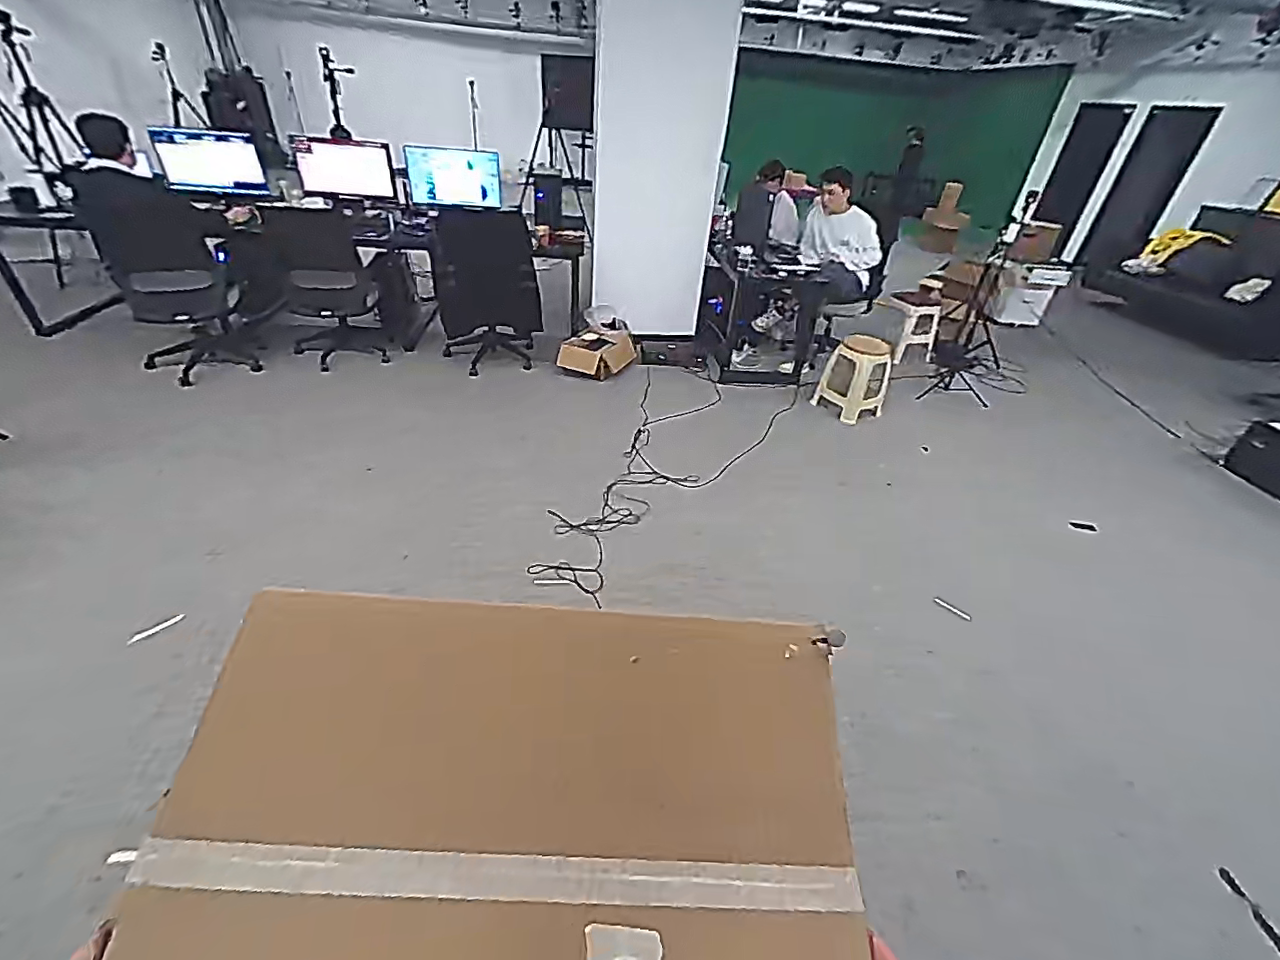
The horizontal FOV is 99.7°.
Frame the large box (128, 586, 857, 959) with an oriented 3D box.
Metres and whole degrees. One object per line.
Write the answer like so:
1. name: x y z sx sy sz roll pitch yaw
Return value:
1. large box: -0.083 0.299 0.450 0.408 0.320 0.320 5 60 -2
